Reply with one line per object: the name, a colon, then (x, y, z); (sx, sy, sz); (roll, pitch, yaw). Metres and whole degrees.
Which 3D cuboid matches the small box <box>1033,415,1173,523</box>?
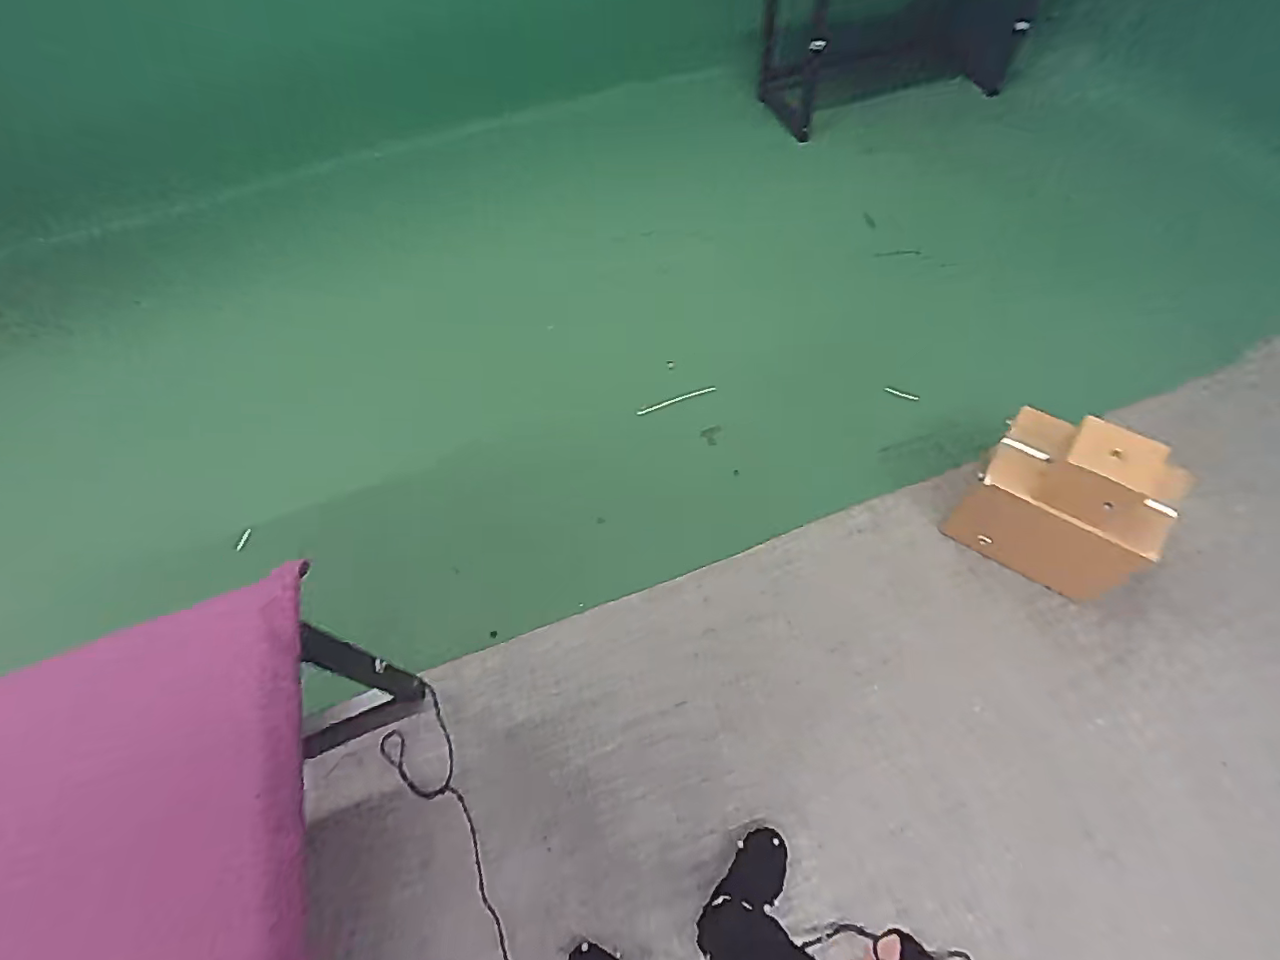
small box: (1.104, -0.018, 1.302); (0.179, 0.176, 0.168); (32, 67, 23)
